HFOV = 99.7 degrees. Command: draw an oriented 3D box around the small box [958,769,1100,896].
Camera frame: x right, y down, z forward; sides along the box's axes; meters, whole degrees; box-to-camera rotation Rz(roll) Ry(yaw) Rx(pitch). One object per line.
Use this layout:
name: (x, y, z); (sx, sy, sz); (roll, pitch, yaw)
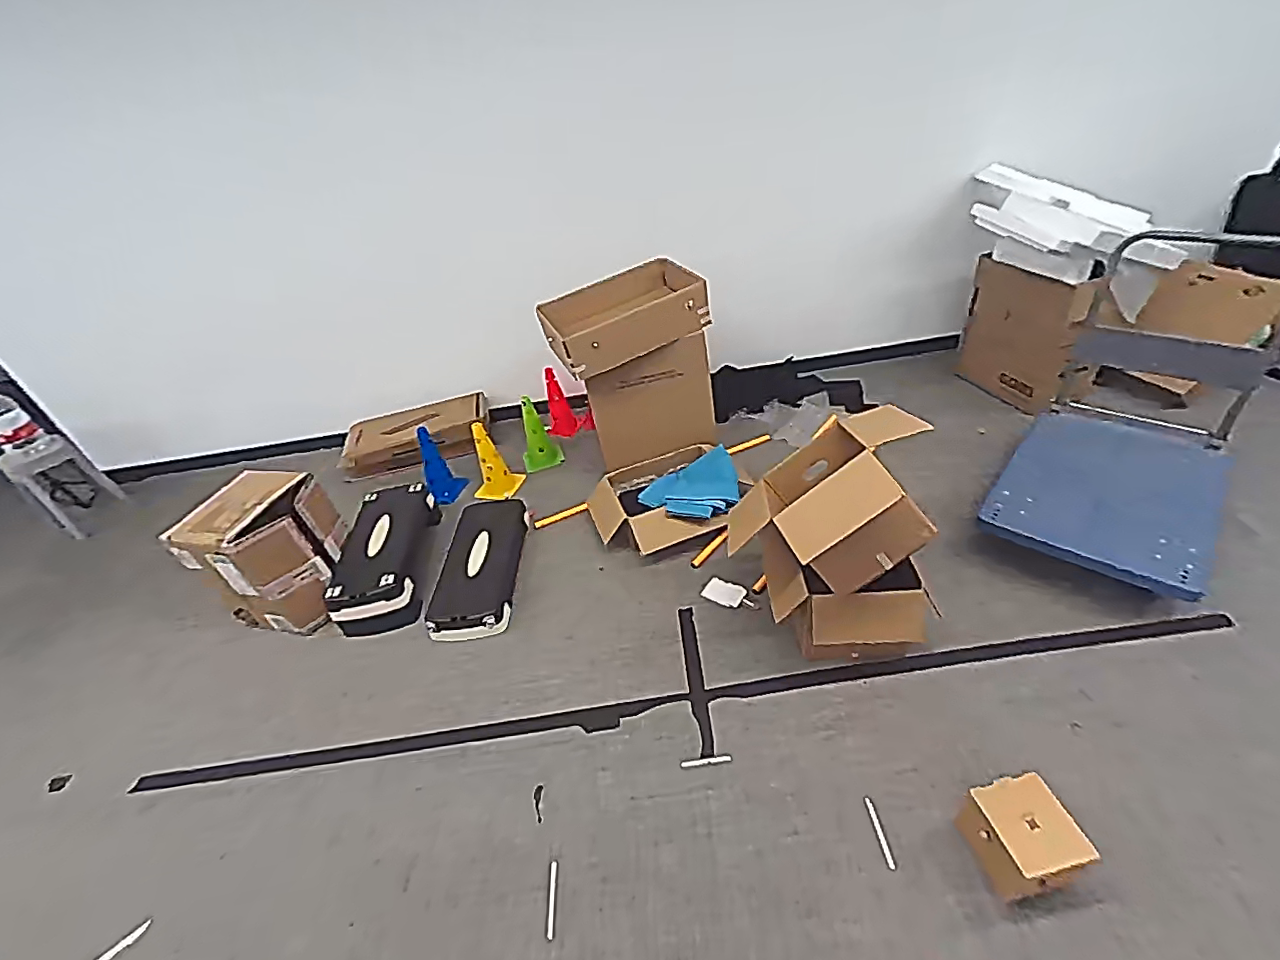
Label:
small box: (0.843, 0.781, 1.191); (0.168, 0.176, 0.179); (-13, 37, -4)
